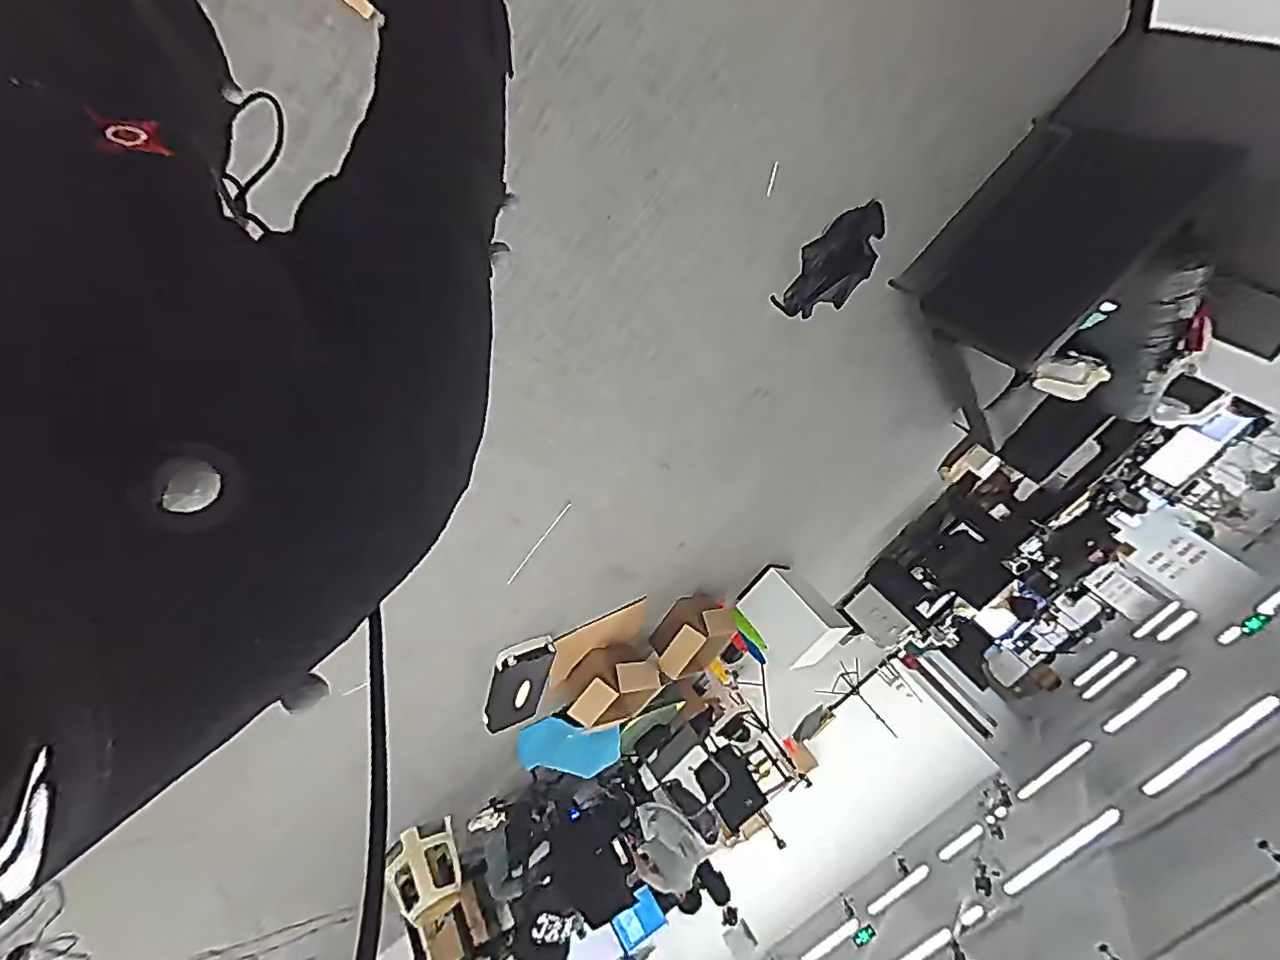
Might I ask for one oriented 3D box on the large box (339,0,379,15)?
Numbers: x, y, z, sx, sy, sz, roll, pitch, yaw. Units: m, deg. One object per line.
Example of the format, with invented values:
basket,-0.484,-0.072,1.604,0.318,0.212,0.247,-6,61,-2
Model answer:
large box,-0.492,-0.888,0.641,0.320,0.320,0.408,-52,145,17
